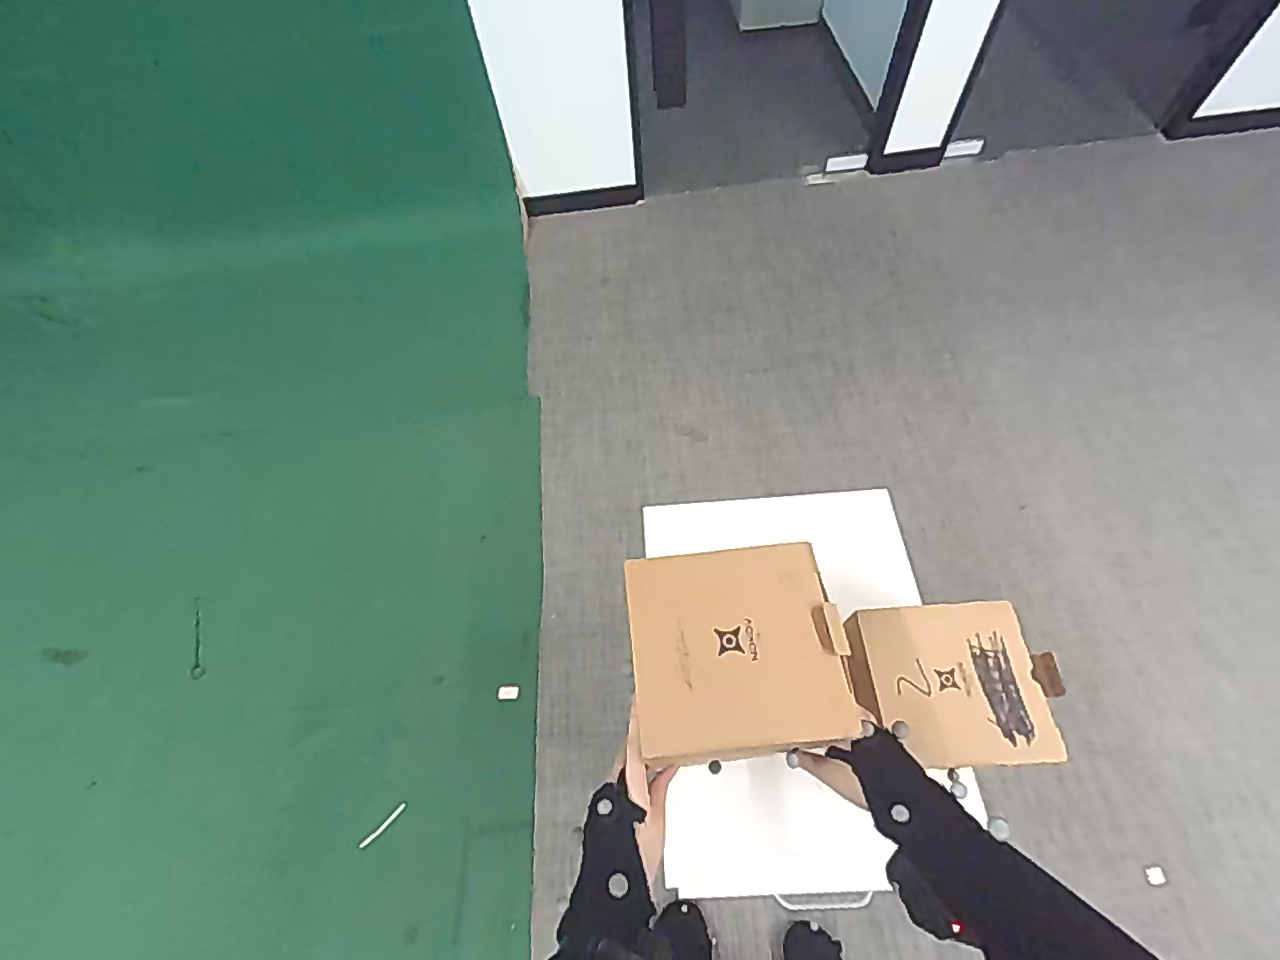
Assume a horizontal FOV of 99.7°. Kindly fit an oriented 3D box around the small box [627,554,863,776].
[{"bbox_3d":[0.084,0.185,0.525,0.179,0.176,0.168,-7,59,0],"label":"small box"}]
